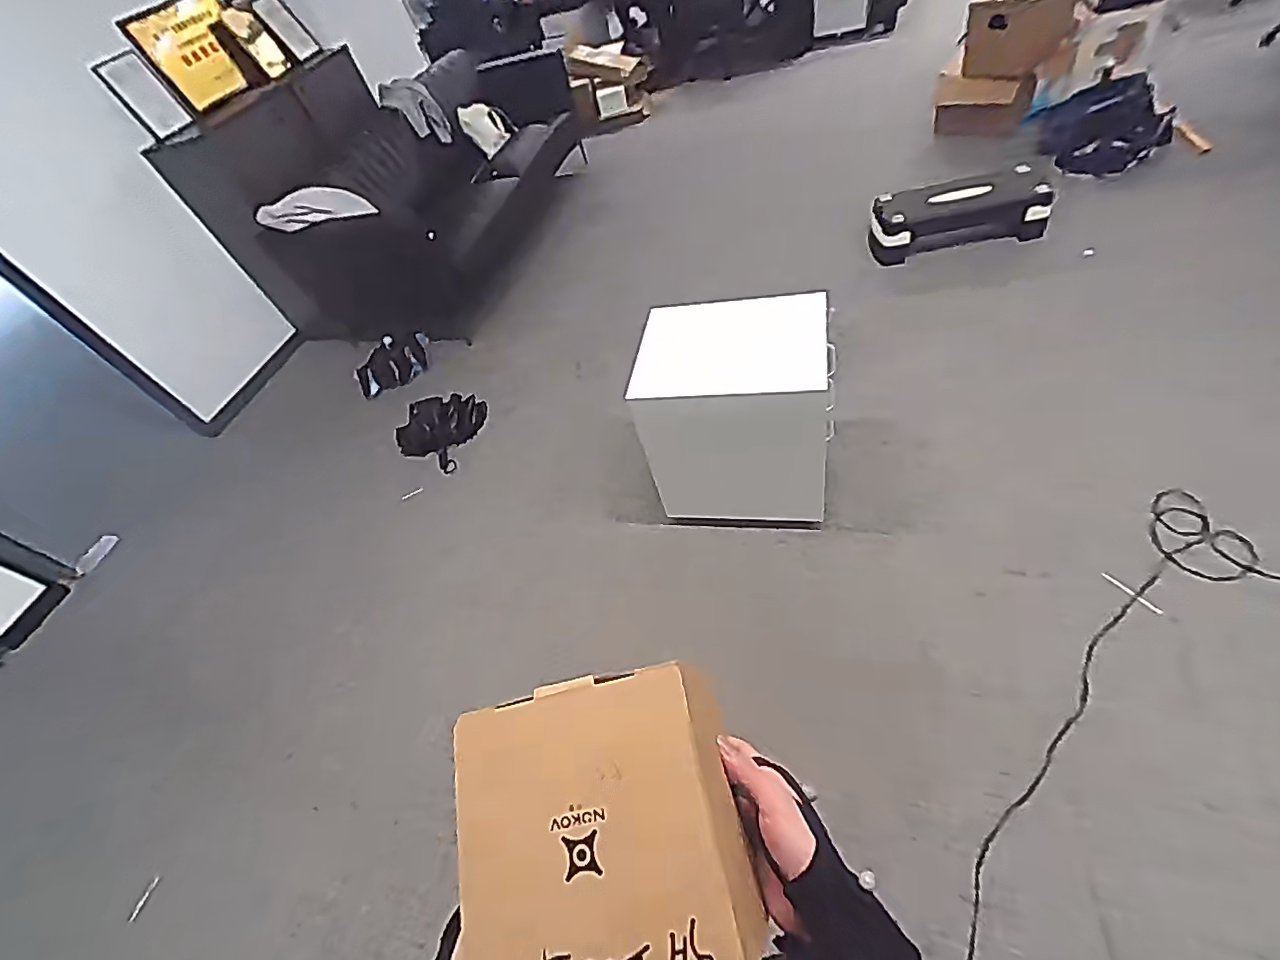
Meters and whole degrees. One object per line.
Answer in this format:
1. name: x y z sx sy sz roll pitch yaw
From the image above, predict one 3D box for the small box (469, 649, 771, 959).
1. small box: -0.009 0.244 0.402 0.168 0.176 0.179 -18 61 8
